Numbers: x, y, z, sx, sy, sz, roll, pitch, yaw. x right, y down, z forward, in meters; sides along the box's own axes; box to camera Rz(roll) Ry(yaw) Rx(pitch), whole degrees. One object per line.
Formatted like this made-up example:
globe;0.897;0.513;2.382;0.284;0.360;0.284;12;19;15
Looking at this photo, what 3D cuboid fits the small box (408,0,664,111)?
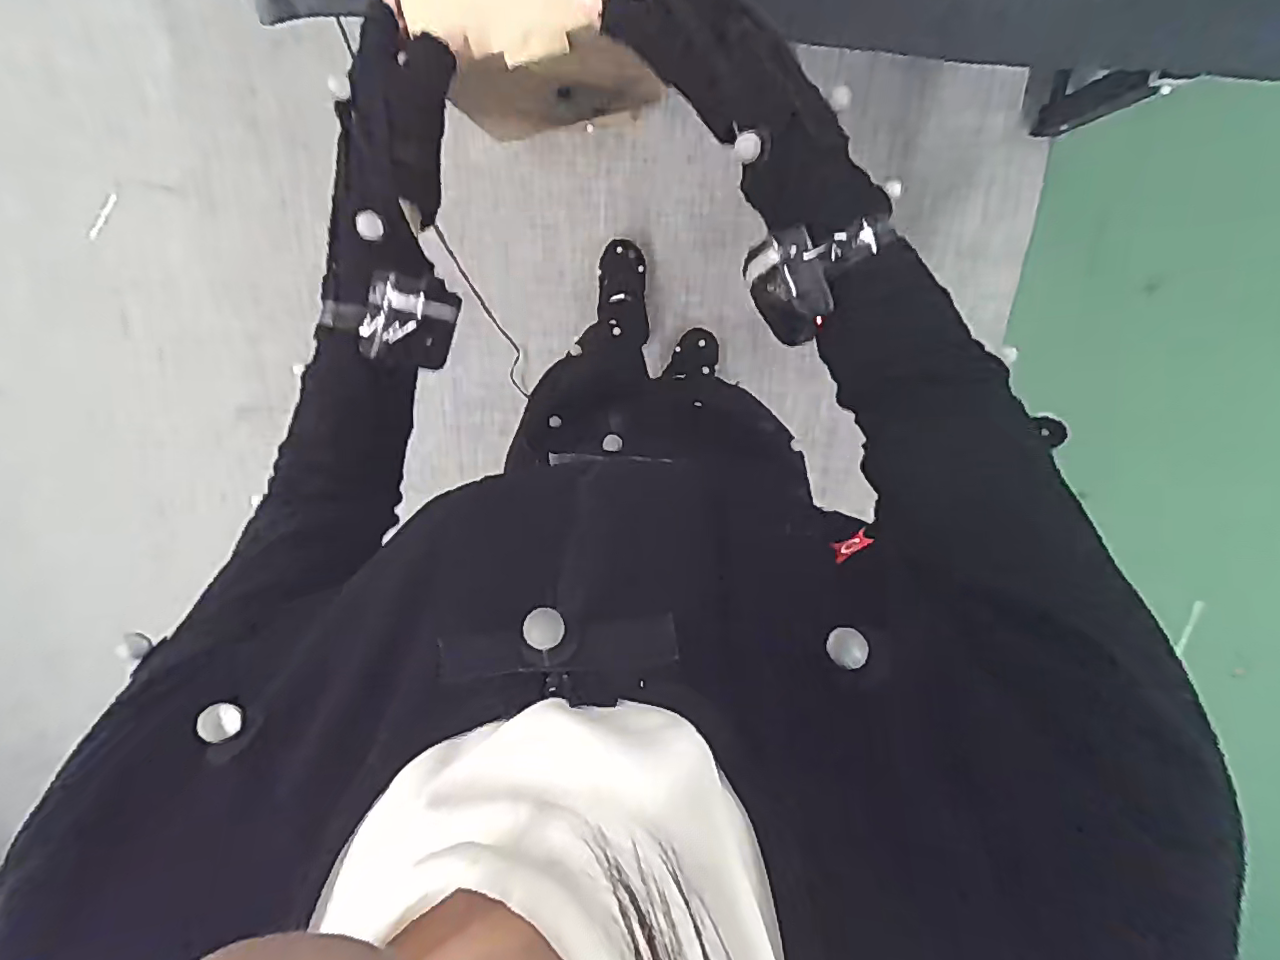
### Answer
small box;-0.077;-0.405;0.403;0.168;0.176;0.179;-9;108;8
